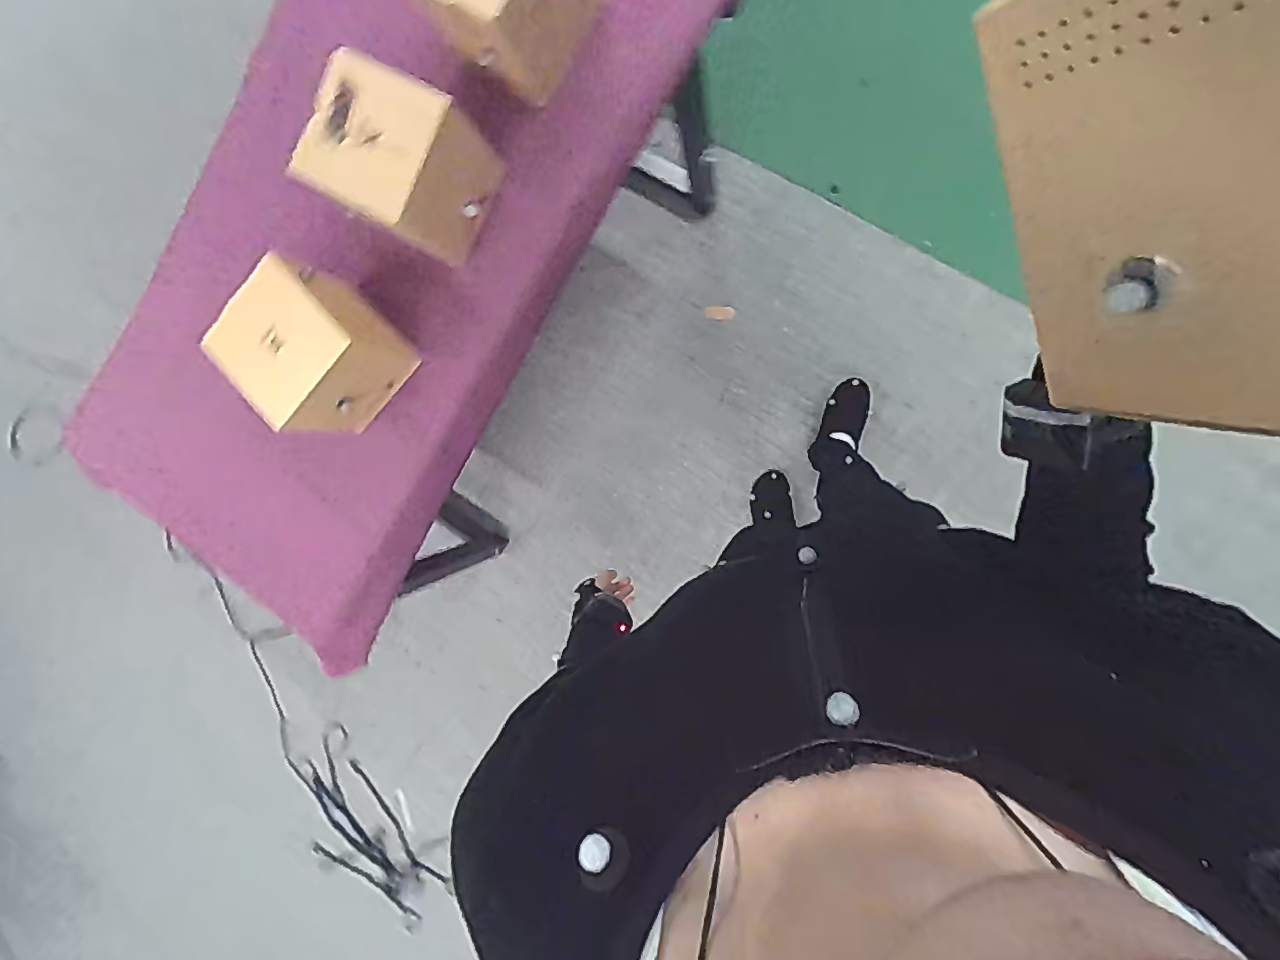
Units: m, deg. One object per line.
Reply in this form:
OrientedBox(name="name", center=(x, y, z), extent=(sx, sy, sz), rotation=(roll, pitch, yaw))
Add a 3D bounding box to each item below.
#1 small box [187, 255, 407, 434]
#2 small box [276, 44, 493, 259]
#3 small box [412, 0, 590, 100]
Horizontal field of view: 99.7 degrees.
OrientedBox(name="small box", center=(-0.483, -0.184, 0.787), extent=(0.179, 0.176, 0.168), rotation=(45, 100, 6))
OrientedBox(name="small box", center=(-0.339, -0.433, 0.746), extent=(0.179, 0.176, 0.168), rotation=(28, 98, 7))
OrientedBox(name="small box", center=(-0.188, -0.655, 0.707), extent=(0.168, 0.176, 0.179), rotation=(36, 98, 7))
